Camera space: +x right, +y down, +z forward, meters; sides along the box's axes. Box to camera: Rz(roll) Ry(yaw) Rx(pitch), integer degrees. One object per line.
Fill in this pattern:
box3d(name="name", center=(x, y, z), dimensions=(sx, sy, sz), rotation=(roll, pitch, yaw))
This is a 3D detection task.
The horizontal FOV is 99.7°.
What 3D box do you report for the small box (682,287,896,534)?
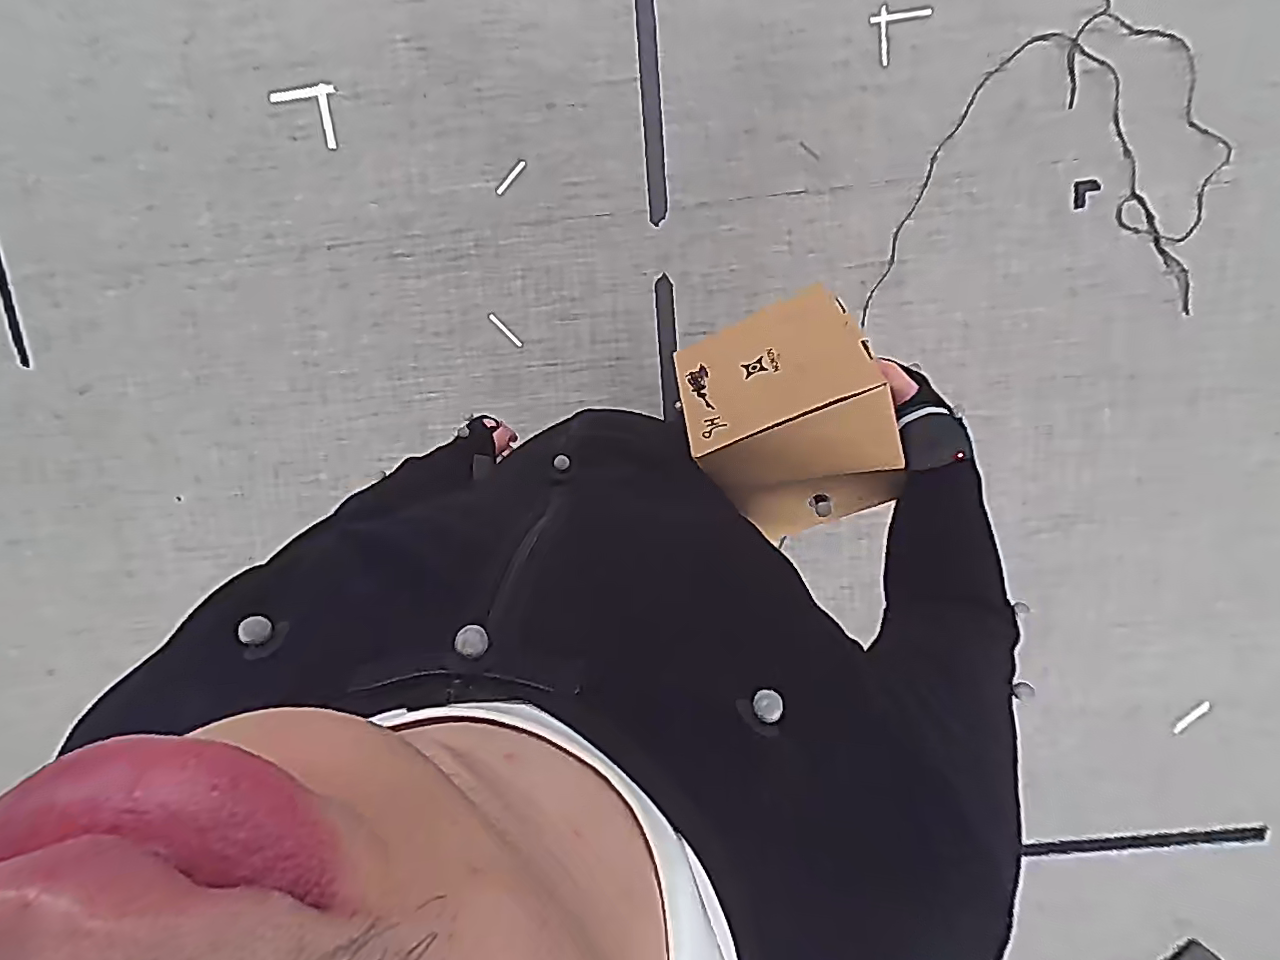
box3d(name="small box", center=(0.164, -0.067, 0.592), dimensions=(0.179, 0.168, 0.176), rotation=(-21, 136, 17))
